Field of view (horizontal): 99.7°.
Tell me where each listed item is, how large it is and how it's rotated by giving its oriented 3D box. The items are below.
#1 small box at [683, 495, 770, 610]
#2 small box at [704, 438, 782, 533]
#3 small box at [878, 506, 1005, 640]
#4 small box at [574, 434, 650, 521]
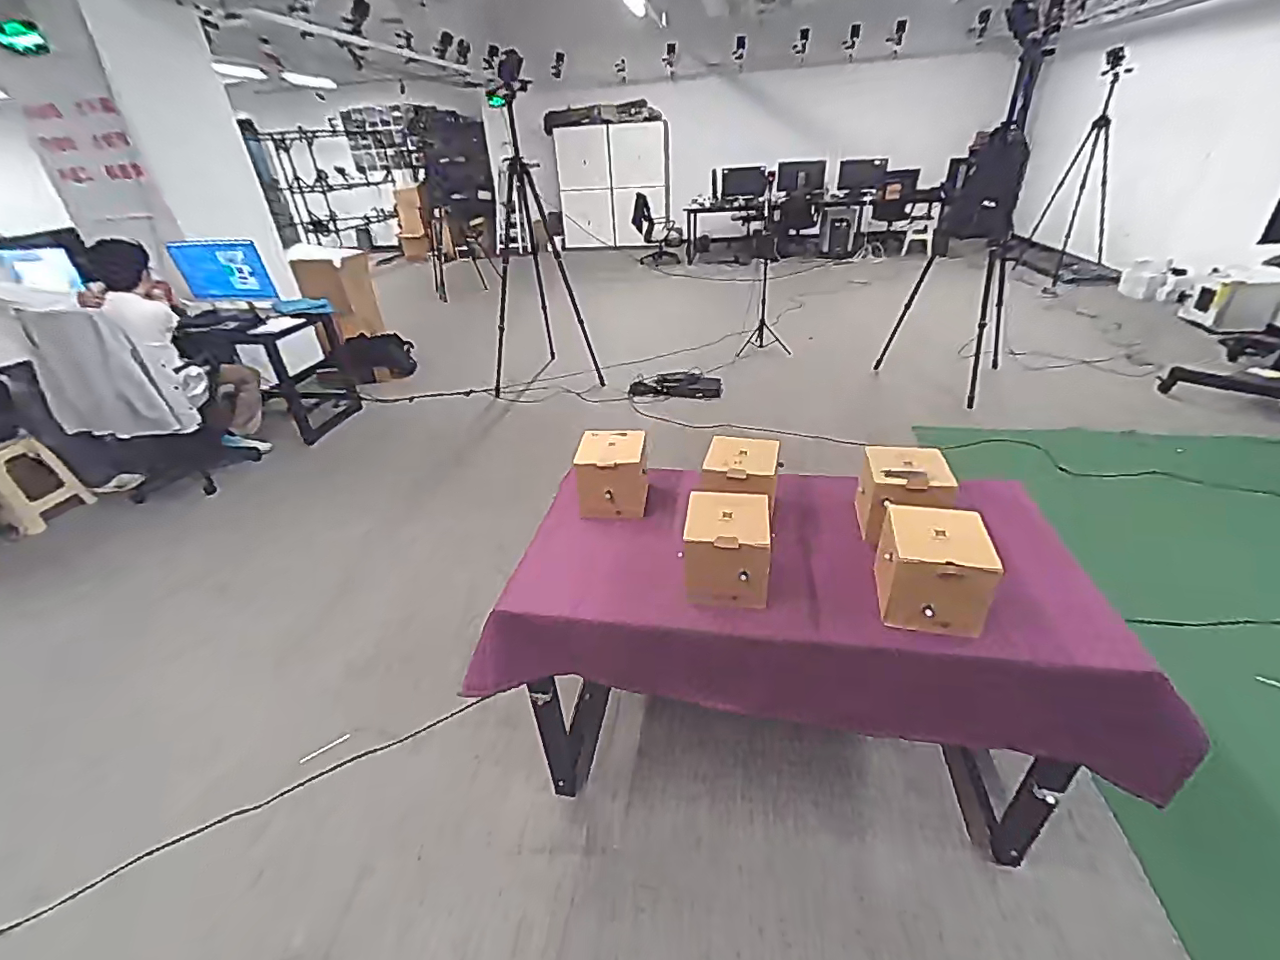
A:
[{"bbox_3d":[0.183,0.149,1.124,0.168,0.176,0.179,3,31,10],"label":"small box"},{"bbox_3d":[0.252,0.015,1.332,0.168,0.176,0.179,6,33,17],"label":"small box"},{"bbox_3d":[0.561,0.174,1.034,0.168,0.176,0.179,5,33,15],"label":"small box"},{"bbox_3d":[-0.065,-0.007,1.407,0.168,0.176,0.179,1,33,7],"label":"small box"}]
